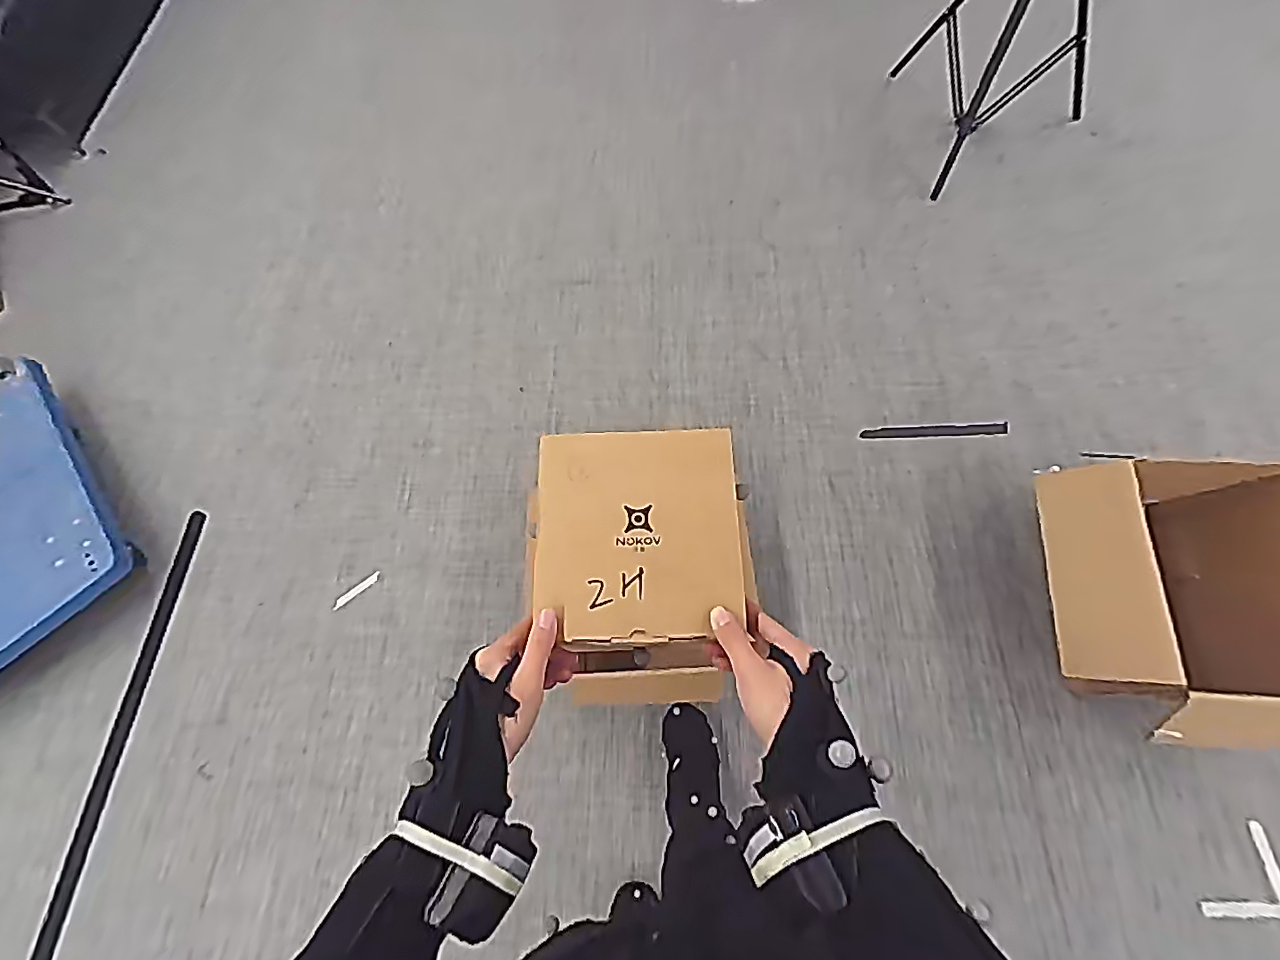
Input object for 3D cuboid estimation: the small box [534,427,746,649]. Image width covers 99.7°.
[{"bbox_3d":[0.001,0.064,0.515,0.168,0.176,0.179,-2,70,2],"label":"small box"}]
